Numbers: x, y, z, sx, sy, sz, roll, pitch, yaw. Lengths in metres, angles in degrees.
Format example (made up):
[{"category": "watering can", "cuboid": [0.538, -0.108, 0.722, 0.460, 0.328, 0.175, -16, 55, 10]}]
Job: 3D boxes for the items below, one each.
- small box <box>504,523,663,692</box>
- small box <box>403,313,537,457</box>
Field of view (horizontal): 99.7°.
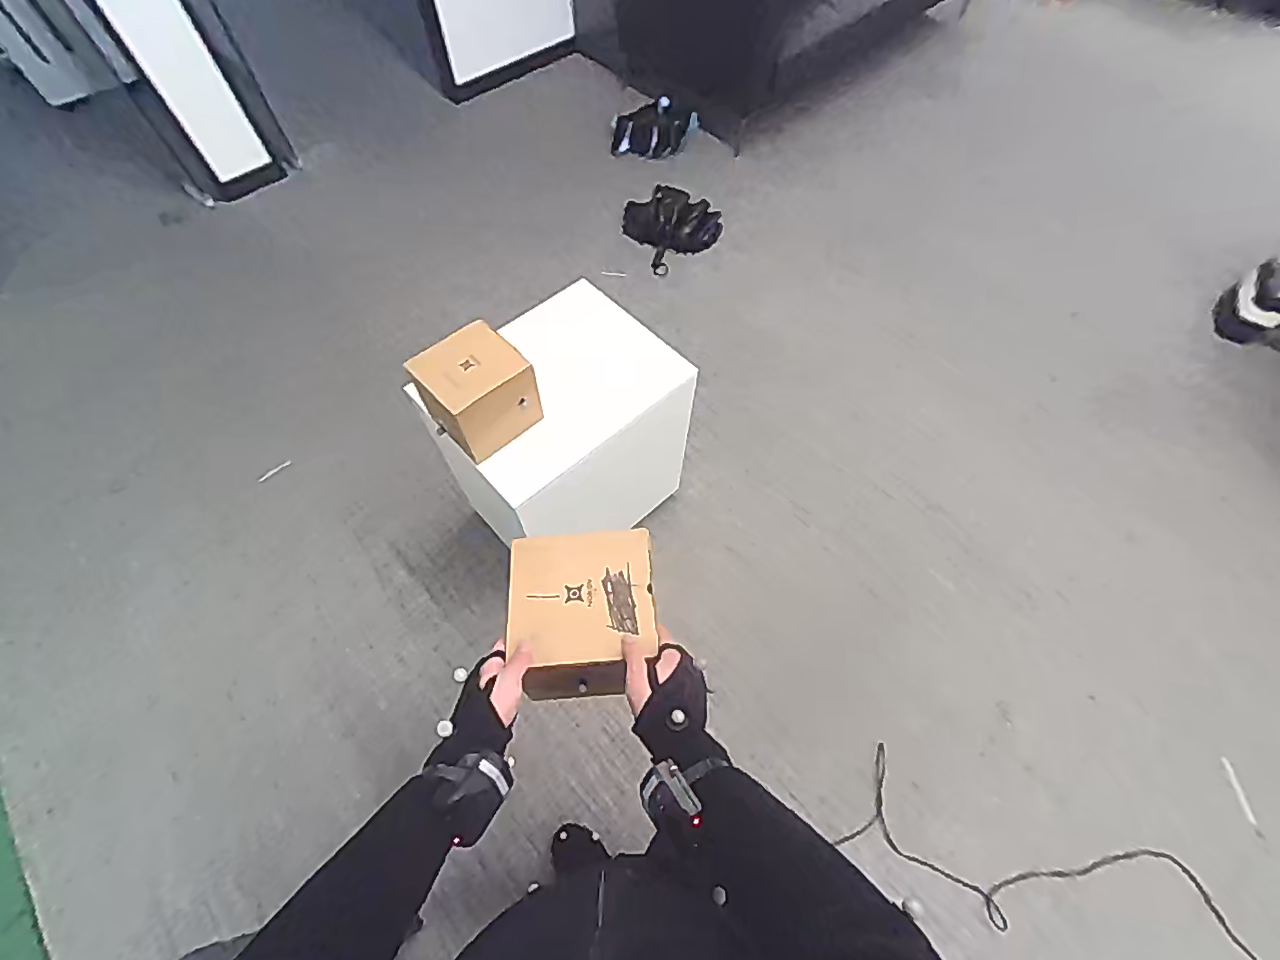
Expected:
[{"category": "small box", "cuboid": [-0.067, 0.168, 0.698, 0.179, 0.176, 0.168, -3, 56, -2]}, {"category": "small box", "cuboid": [-0.314, -0.179, 1.041, 0.179, 0.176, 0.168, -40, 68, -22]}]
